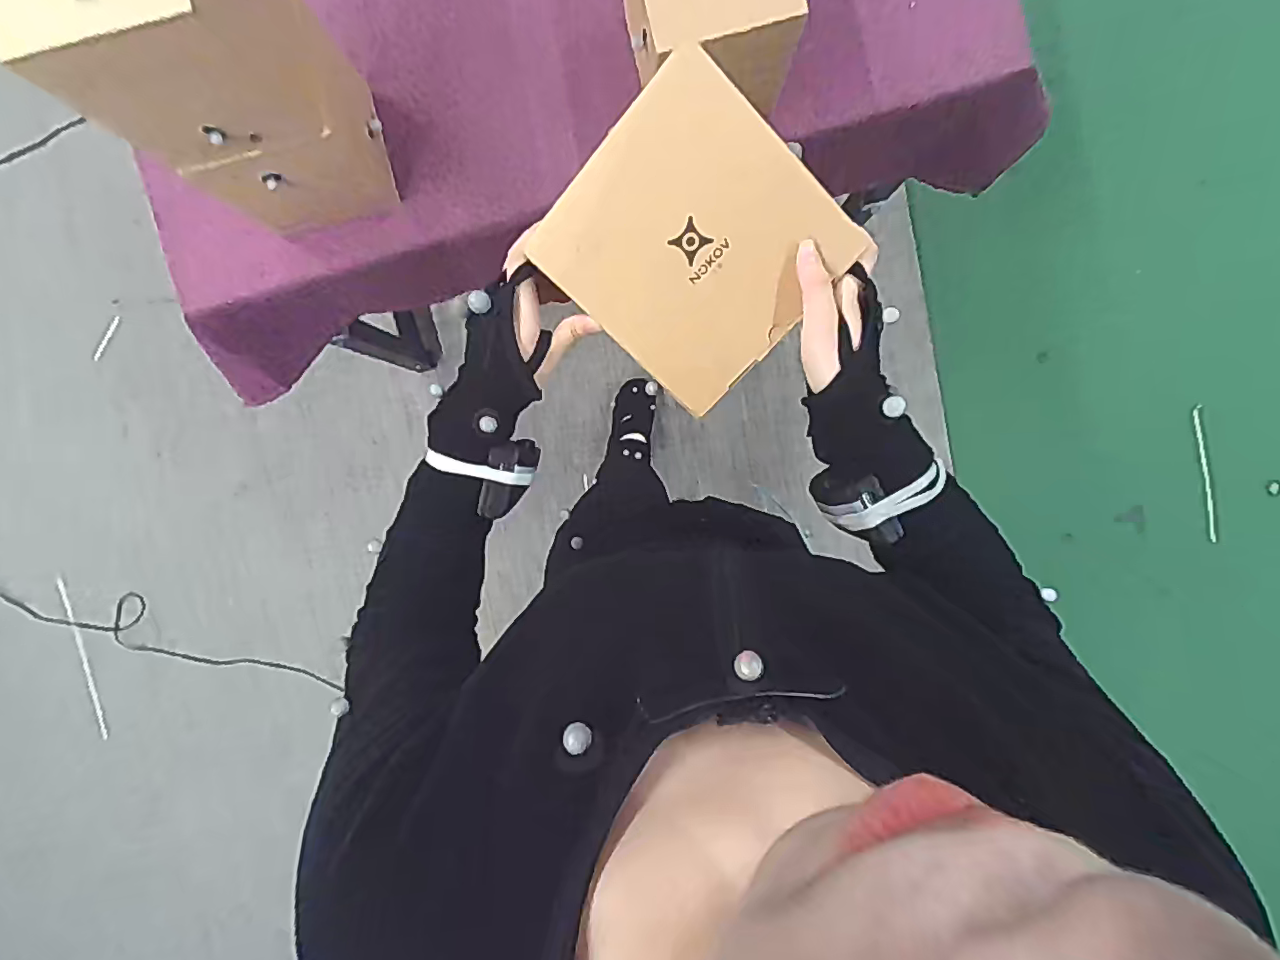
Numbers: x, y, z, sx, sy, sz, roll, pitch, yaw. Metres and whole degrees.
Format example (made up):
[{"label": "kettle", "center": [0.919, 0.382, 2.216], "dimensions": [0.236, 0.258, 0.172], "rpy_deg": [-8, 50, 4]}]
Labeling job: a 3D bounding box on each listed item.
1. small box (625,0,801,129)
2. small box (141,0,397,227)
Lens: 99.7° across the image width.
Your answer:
[{"label": "small box", "center": [0.076, -0.556, 0.643], "dimensions": [0.168, 0.176, 0.179], "rpy_deg": [-13, 93, 2]}, {"label": "small box", "center": [-0.434, -0.436, 0.661], "dimensions": [0.179, 0.176, 0.168], "rpy_deg": [-14, 93, 1]}]
